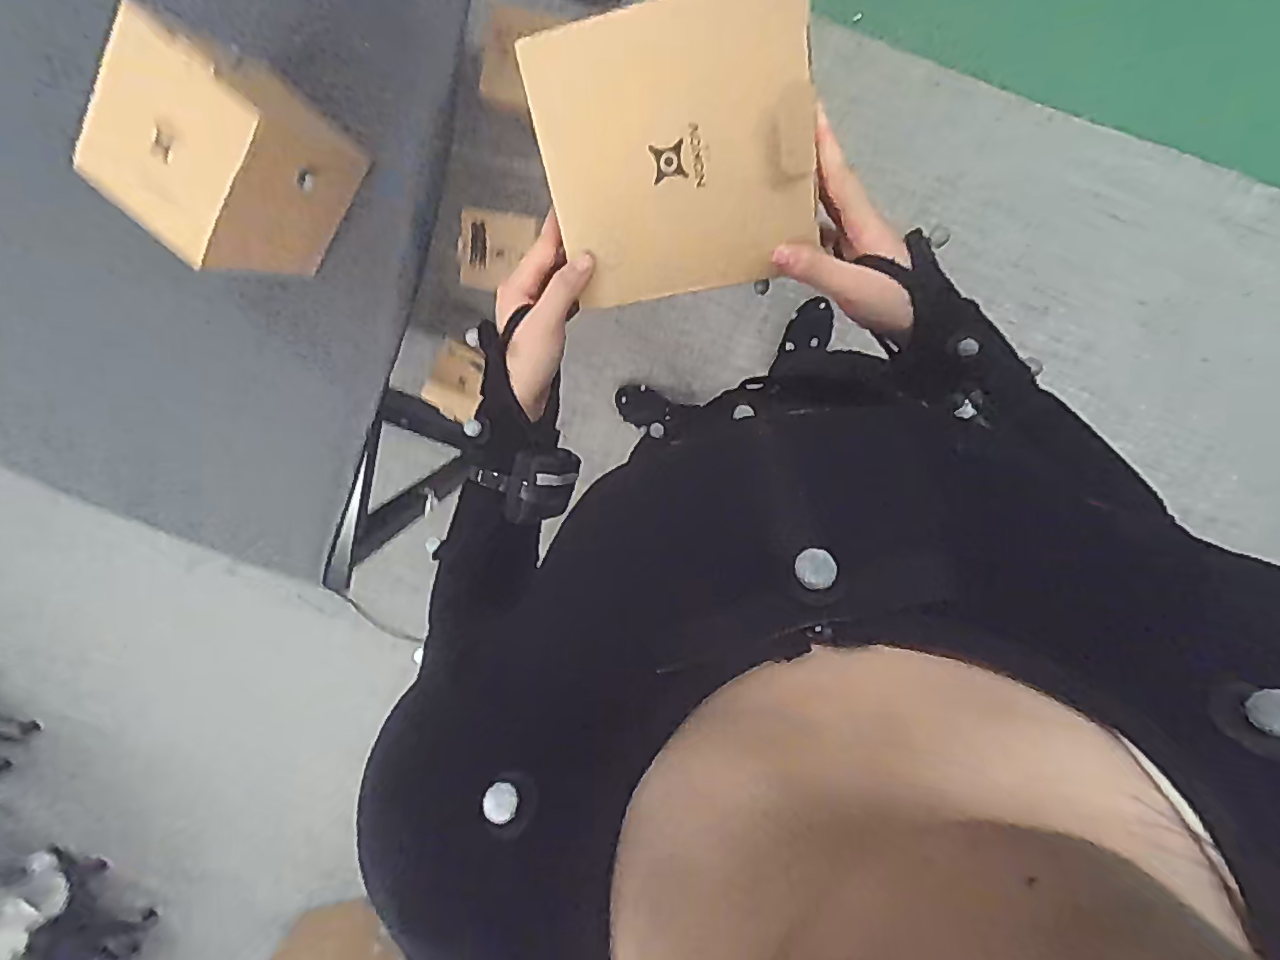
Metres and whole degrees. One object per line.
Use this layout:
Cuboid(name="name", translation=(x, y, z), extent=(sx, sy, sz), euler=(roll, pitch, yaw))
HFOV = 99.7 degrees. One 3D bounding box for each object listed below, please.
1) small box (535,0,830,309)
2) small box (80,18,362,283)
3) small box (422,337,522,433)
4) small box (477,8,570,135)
Cuboid(name="small box", translation=(0.044, -0.243, 0.419), extent=(0.179, 0.176, 0.168), euler=(-6, 118, 12))
Cuboid(name="small box", translation=(-0.457, -0.349, 0.616), extent=(0.168, 0.176, 0.179), euler=(40, 111, -3))
Cuboid(name="small box", translation=(-0.434, -0.256, 1.423), extent=(0.168, 0.176, 0.179), euler=(32, 111, -4))
Cuboid(name="small box", translation=(-0.231, -0.873, 1.178), extent=(0.179, 0.176, 0.168), euler=(16, 110, 2))
